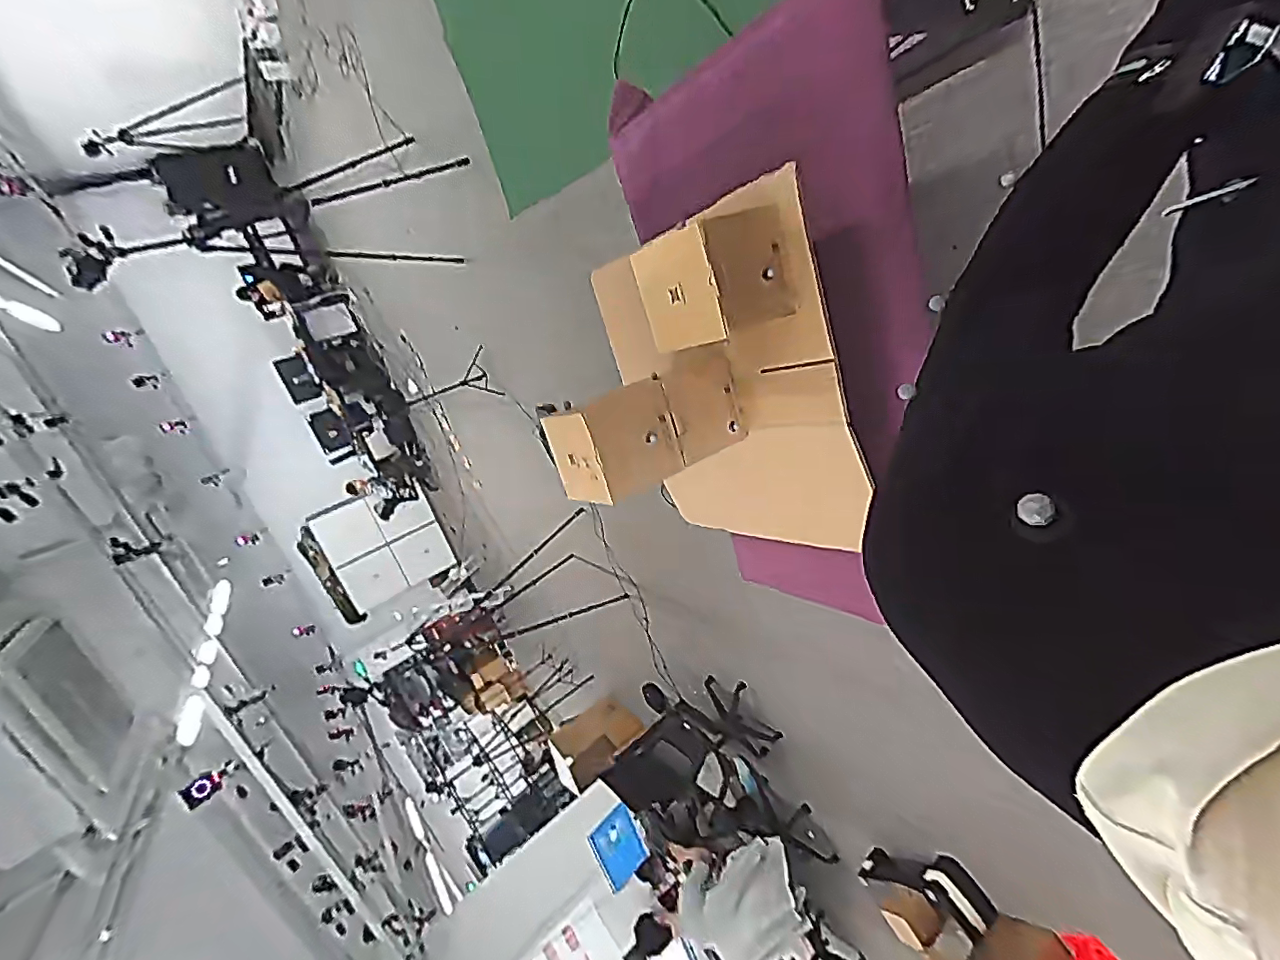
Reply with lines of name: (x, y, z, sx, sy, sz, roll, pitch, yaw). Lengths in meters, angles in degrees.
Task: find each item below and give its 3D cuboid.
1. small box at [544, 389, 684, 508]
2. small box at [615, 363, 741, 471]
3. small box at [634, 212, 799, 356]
small box: (-0.047, -0.062, 0.998, 0.179, 0.176, 0.168, 4, 116, 56)
small box: (0.082, -0.125, 1.077, 0.179, 0.176, 0.168, 5, 116, 57)
small box: (0.123, -0.312, 0.873, 0.179, 0.176, 0.168, 4, 116, 56)
